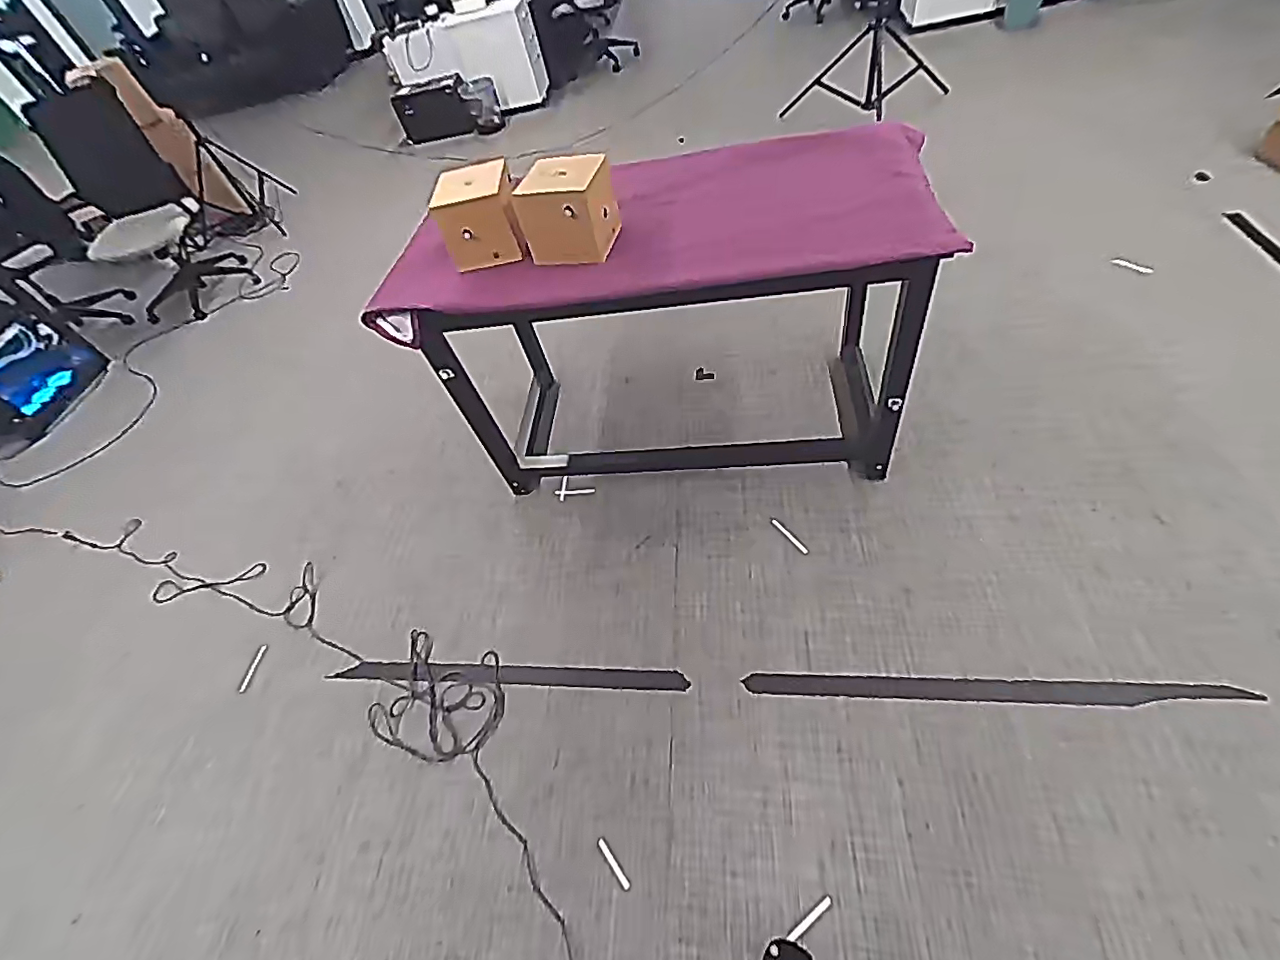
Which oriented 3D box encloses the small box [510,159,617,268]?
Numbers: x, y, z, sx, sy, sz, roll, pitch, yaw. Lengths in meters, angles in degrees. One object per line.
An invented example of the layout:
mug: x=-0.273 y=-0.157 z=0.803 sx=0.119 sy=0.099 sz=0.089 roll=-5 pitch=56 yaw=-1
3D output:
small box: x=-0.165 y=-0.608 z=1.245 sx=0.179 sy=0.176 sz=0.168 roll=5 pitch=53 yaw=17

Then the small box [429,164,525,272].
small box: x=-0.385 y=-0.627 z=1.315 sx=0.168 sy=0.176 sz=0.179 roll=-10 pitch=52 yaw=7
